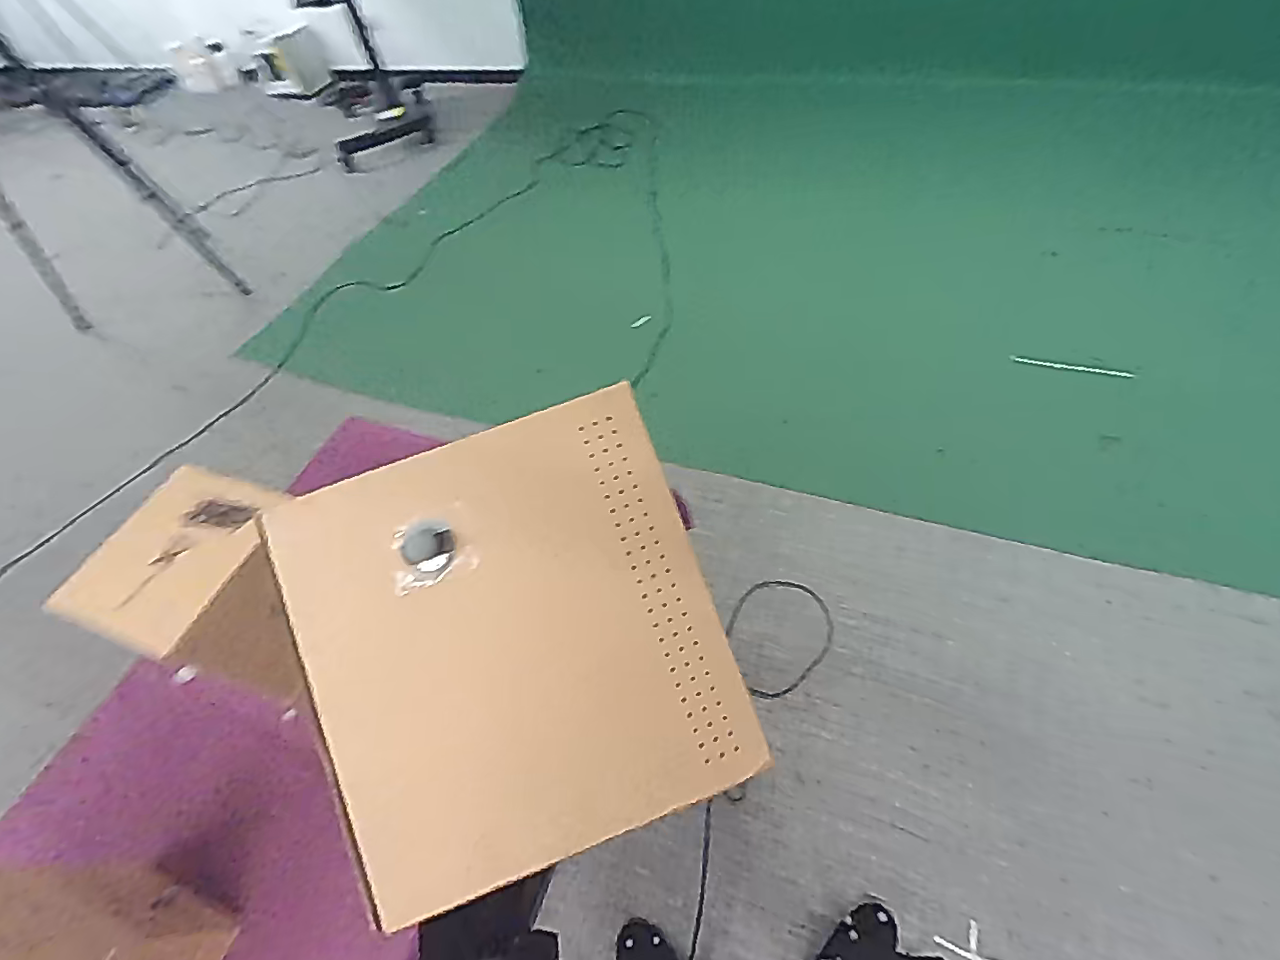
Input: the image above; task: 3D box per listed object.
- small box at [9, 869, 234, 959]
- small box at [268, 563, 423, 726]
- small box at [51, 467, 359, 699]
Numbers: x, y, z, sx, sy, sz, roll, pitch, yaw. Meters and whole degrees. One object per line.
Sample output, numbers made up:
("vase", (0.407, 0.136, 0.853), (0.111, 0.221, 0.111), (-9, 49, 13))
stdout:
("small box", (-0.570, 0.520, 0.538), (0.168, 0.176, 0.179), (12, 56, 16))
("small box", (-0.432, 0.211, 0.736), (0.168, 0.176, 0.179), (14, 57, 16))
("small box", (-0.452, 0.117, 0.603), (0.168, 0.176, 0.179), (13, 58, 16))
